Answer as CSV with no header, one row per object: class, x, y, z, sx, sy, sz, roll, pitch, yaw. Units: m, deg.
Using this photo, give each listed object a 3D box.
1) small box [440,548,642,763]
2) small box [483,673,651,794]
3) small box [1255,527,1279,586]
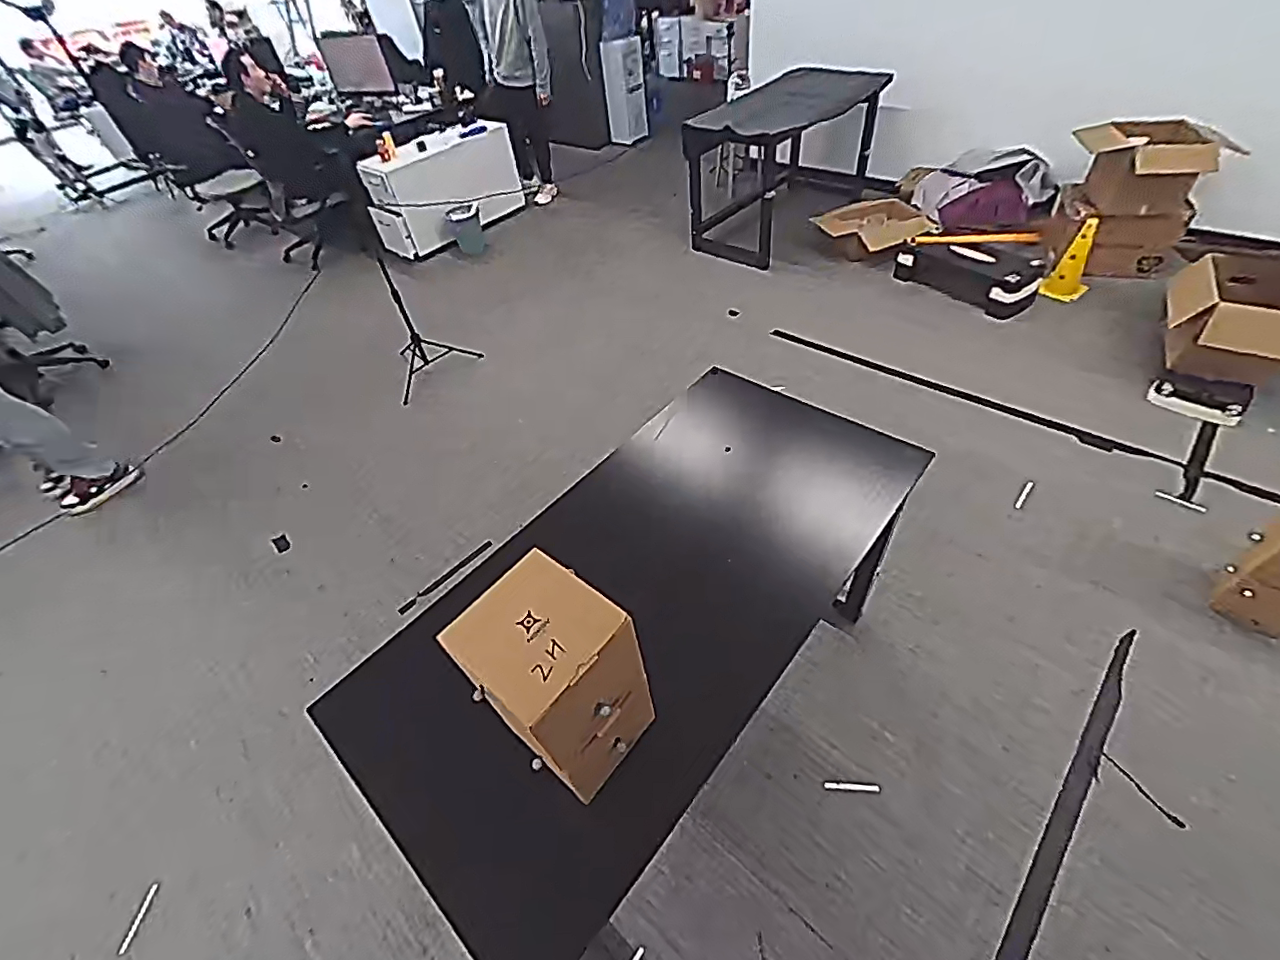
small box,-0.118,0.228,0.699,0.179,0.176,0.168,29,58,30
small box,-0.099,0.340,0.818,0.179,0.176,0.168,29,57,29
small box,1.812,0.204,1.437,0.179,0.176,0.168,31,58,30
